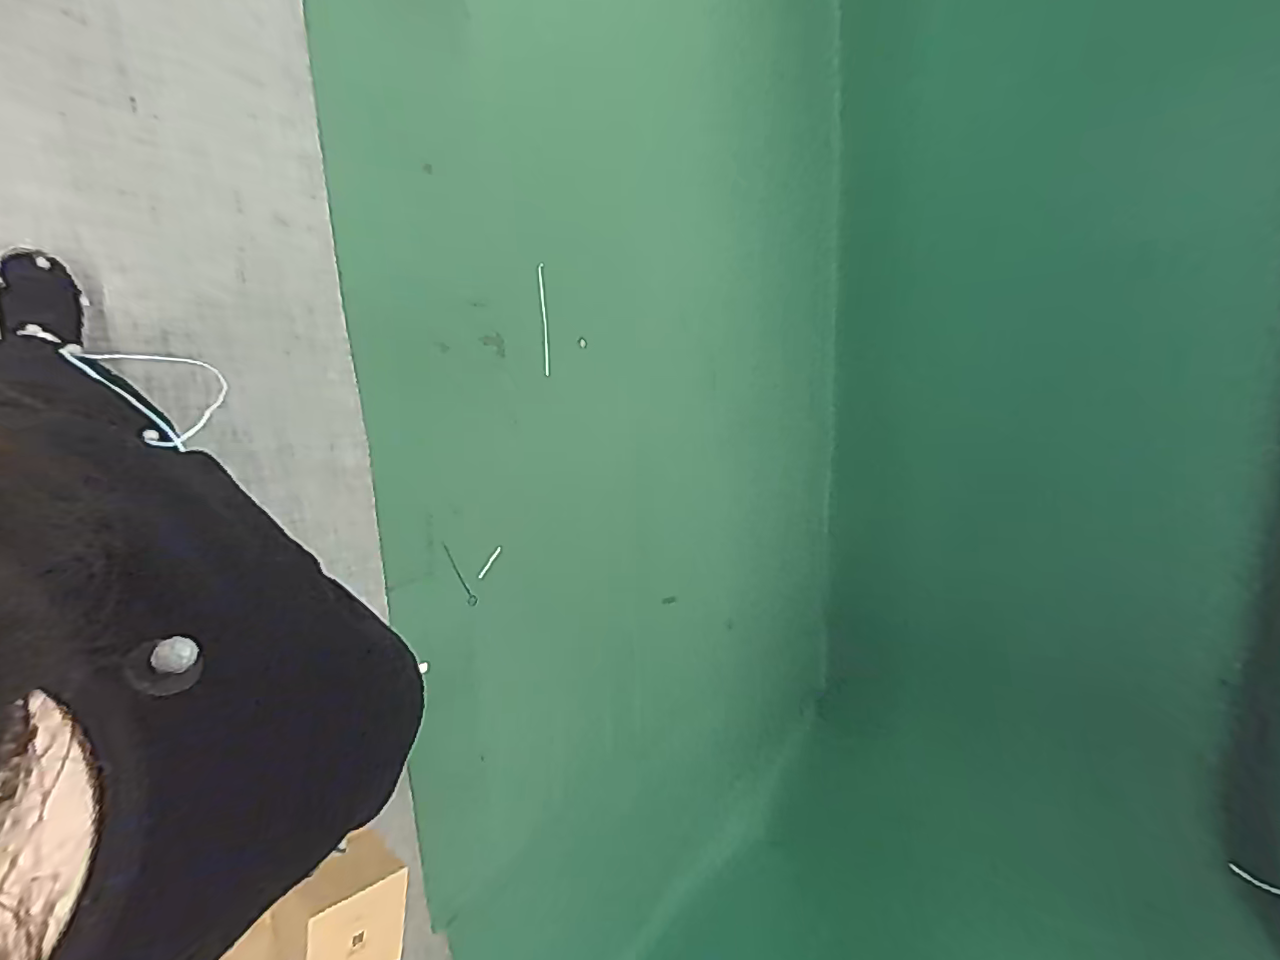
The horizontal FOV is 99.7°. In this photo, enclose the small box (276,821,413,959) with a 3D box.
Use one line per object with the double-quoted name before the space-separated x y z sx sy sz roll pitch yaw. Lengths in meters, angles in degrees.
"small box" -0.538 0.770 0.980 0.168 0.176 0.179 4 91 -51
